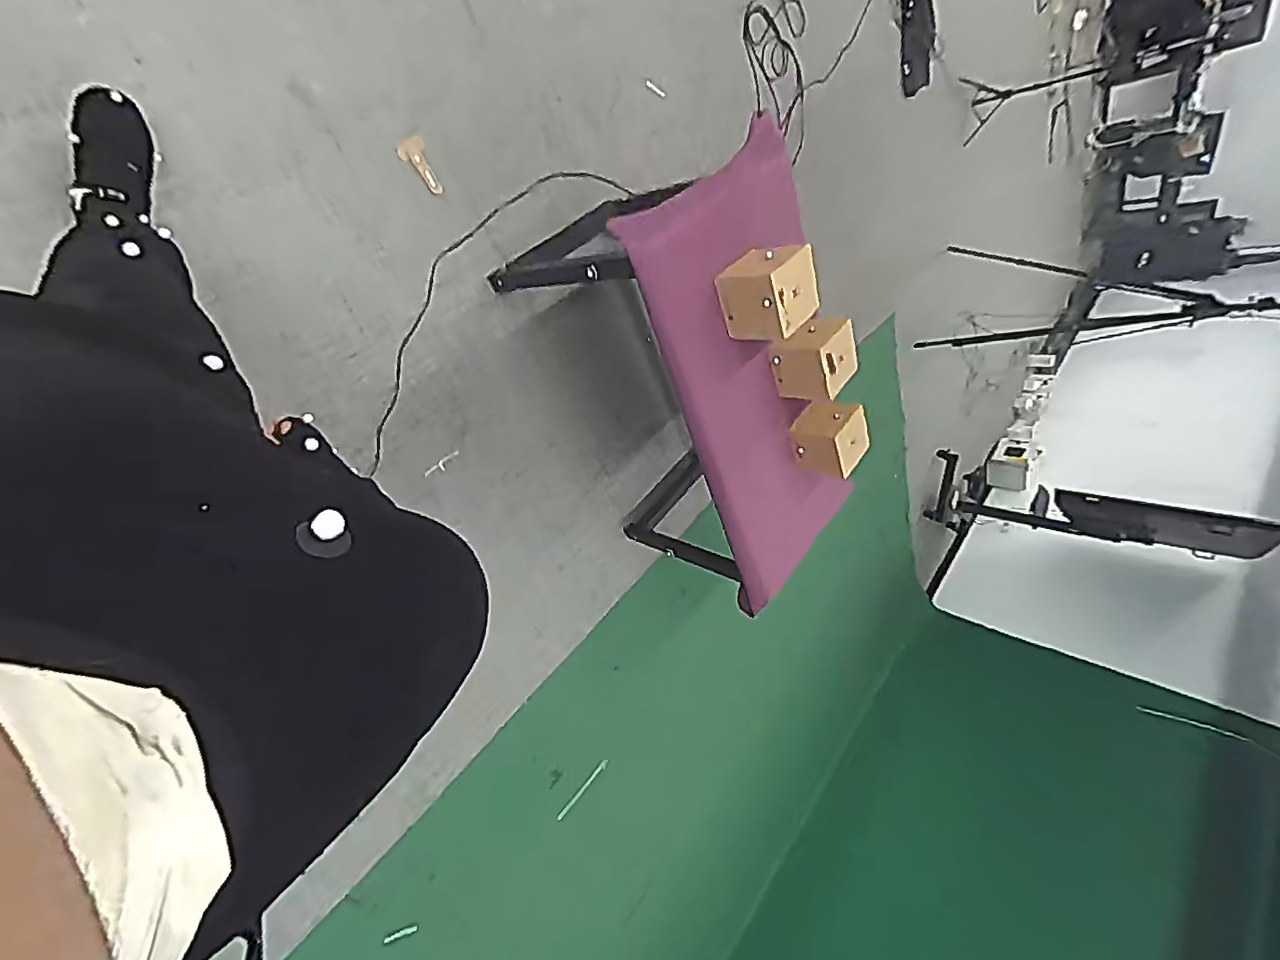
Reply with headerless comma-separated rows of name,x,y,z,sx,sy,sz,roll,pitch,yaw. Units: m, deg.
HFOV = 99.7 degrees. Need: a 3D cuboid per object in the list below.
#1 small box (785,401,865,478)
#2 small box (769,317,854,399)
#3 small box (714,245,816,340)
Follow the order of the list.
small box,0.588,-0.135,1.715,0.179,0.176,0.168,-45,127,-25
small box,0.489,-0.351,1.557,0.179,0.176,0.168,-46,129,-27
small box,0.312,-0.468,1.351,0.179,0.176,0.168,-44,128,-27
